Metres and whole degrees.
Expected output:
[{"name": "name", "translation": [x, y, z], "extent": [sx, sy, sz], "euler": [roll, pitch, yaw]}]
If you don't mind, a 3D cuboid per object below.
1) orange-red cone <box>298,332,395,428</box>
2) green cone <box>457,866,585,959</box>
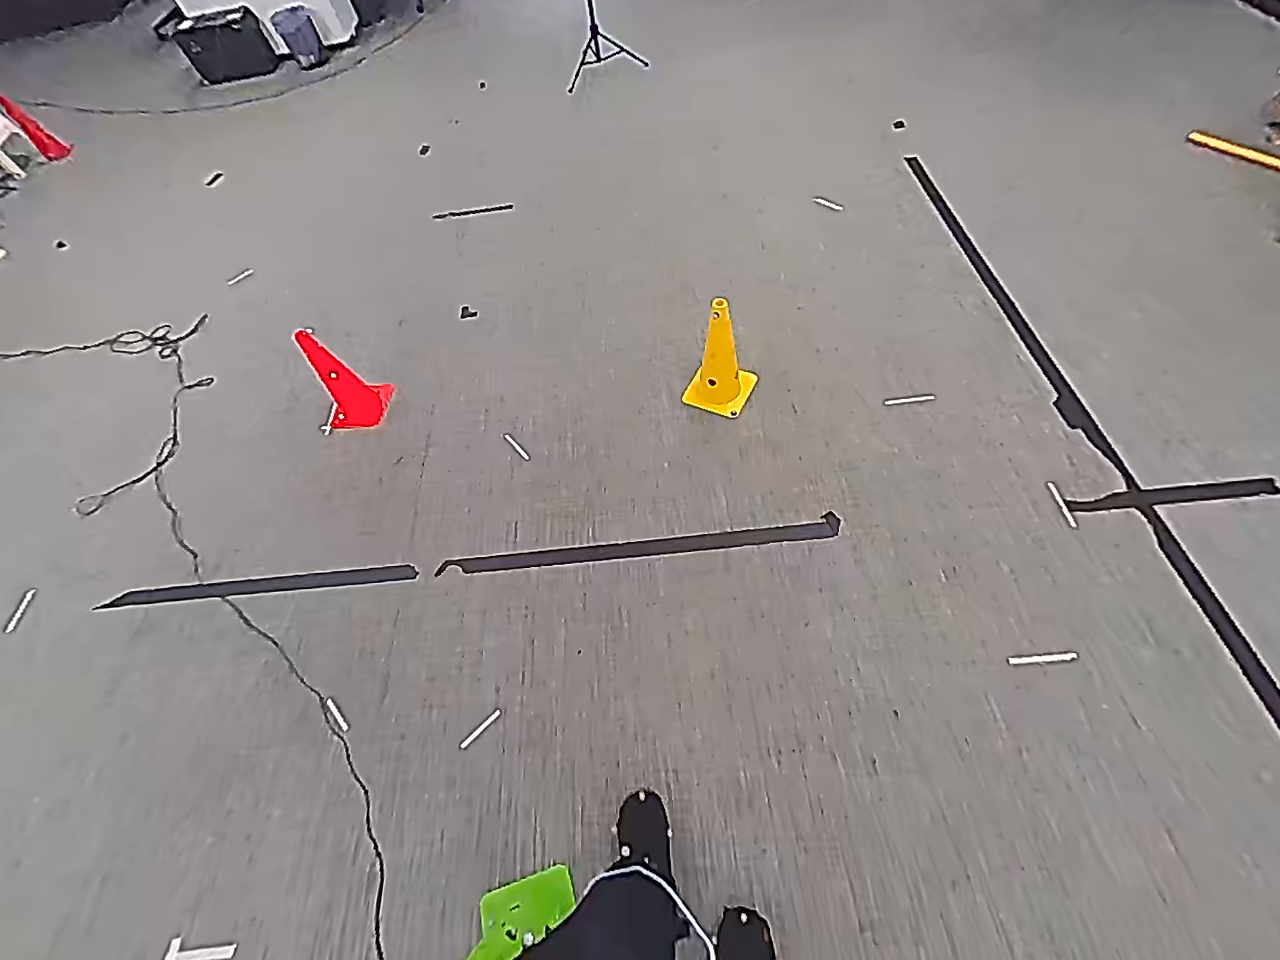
[{"name": "orange-red cone", "translation": [-1.037, -0.362, 1.846], "extent": [0.199, 0.360, 0.198], "euler": [0, 58, 7]}, {"name": "green cone", "translation": [-0.249, 0.841, 0.961], "extent": [0.202, 0.368, 0.200], "euler": [-21, 57, -3]}]
